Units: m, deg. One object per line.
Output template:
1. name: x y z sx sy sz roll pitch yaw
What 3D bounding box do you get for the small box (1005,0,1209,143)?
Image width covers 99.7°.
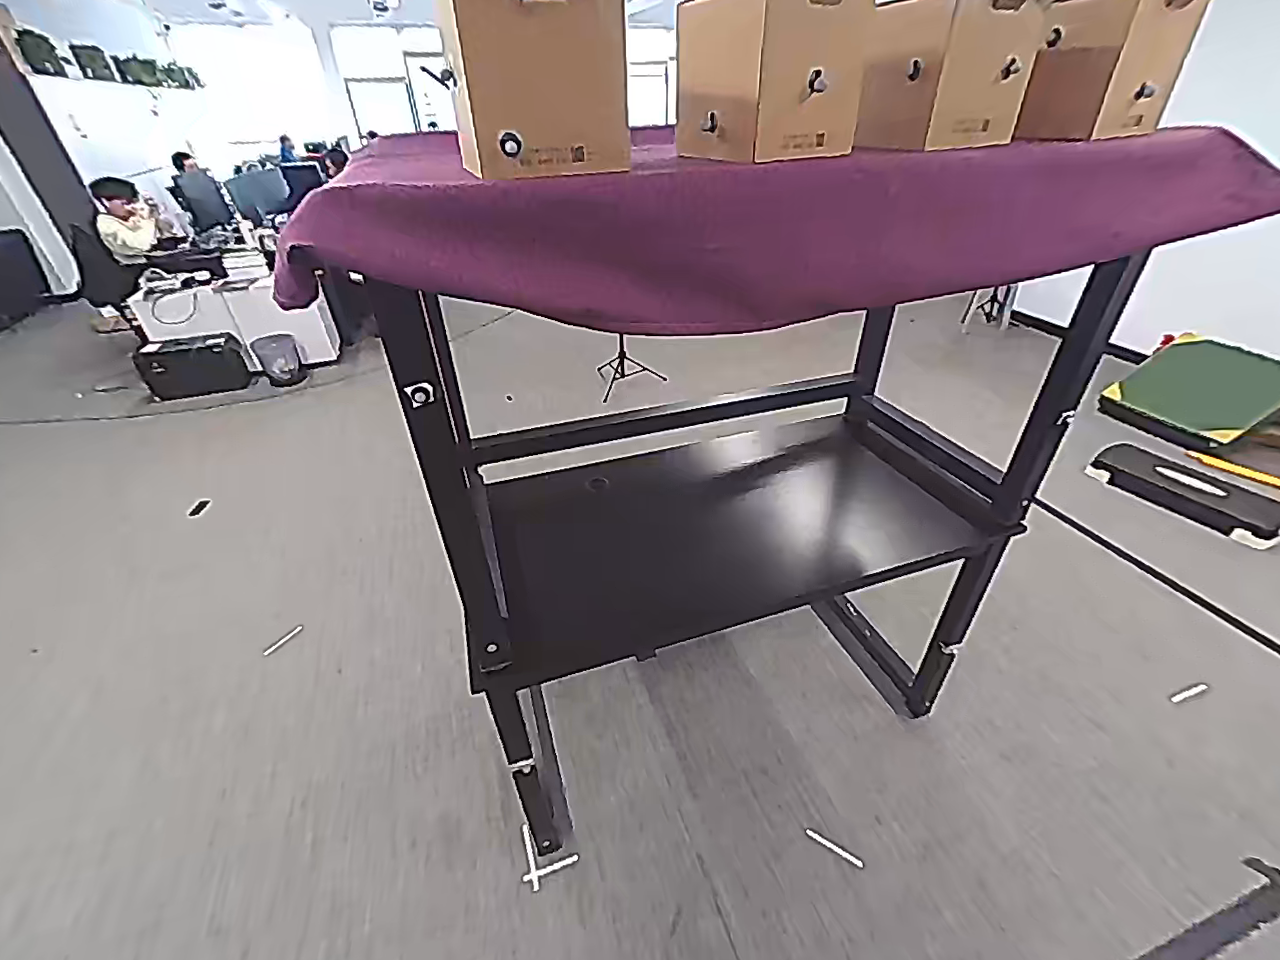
1. small box: 0.672 -0.612 0.819 0.168 0.176 0.179 -17 36 -19

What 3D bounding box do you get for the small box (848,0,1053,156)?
1. small box: 0.417 -0.563 0.766 0.168 0.176 0.179 -14 36 -18

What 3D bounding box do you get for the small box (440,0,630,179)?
1. small box: -0.115 -0.437 0.602 0.168 0.176 0.179 -13 35 -17

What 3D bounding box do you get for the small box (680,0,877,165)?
1. small box: 0.165 -0.504 0.689 0.168 0.176 0.179 -19 38 -23
